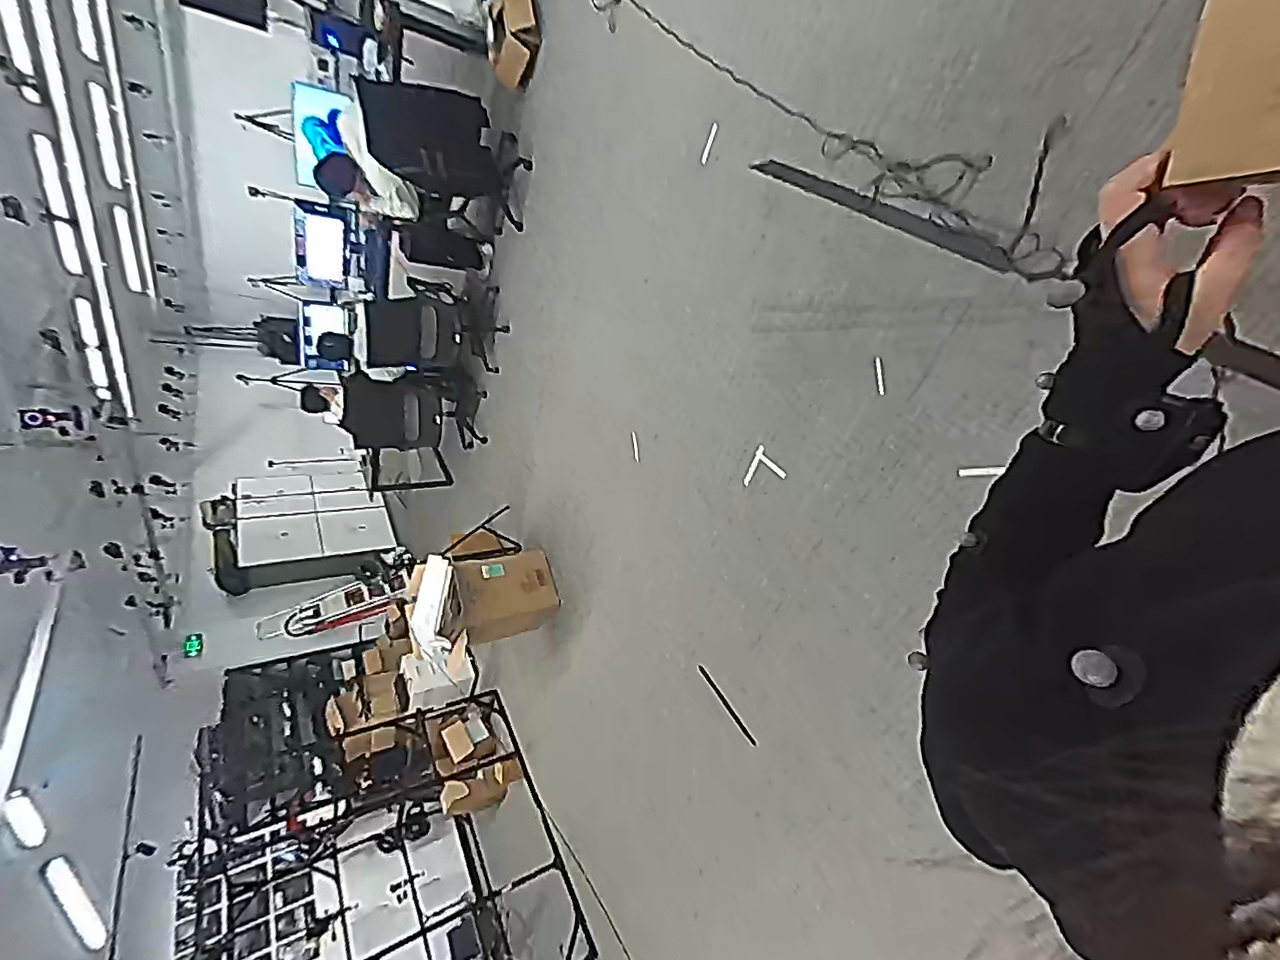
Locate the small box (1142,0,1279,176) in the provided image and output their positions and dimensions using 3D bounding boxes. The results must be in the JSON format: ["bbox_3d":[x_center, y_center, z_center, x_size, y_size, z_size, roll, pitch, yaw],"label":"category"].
[{"bbox_3d":[0.357,-0.222,0.206,0.179,0.176,0.168,30,132,56],"label":"small box"}]
